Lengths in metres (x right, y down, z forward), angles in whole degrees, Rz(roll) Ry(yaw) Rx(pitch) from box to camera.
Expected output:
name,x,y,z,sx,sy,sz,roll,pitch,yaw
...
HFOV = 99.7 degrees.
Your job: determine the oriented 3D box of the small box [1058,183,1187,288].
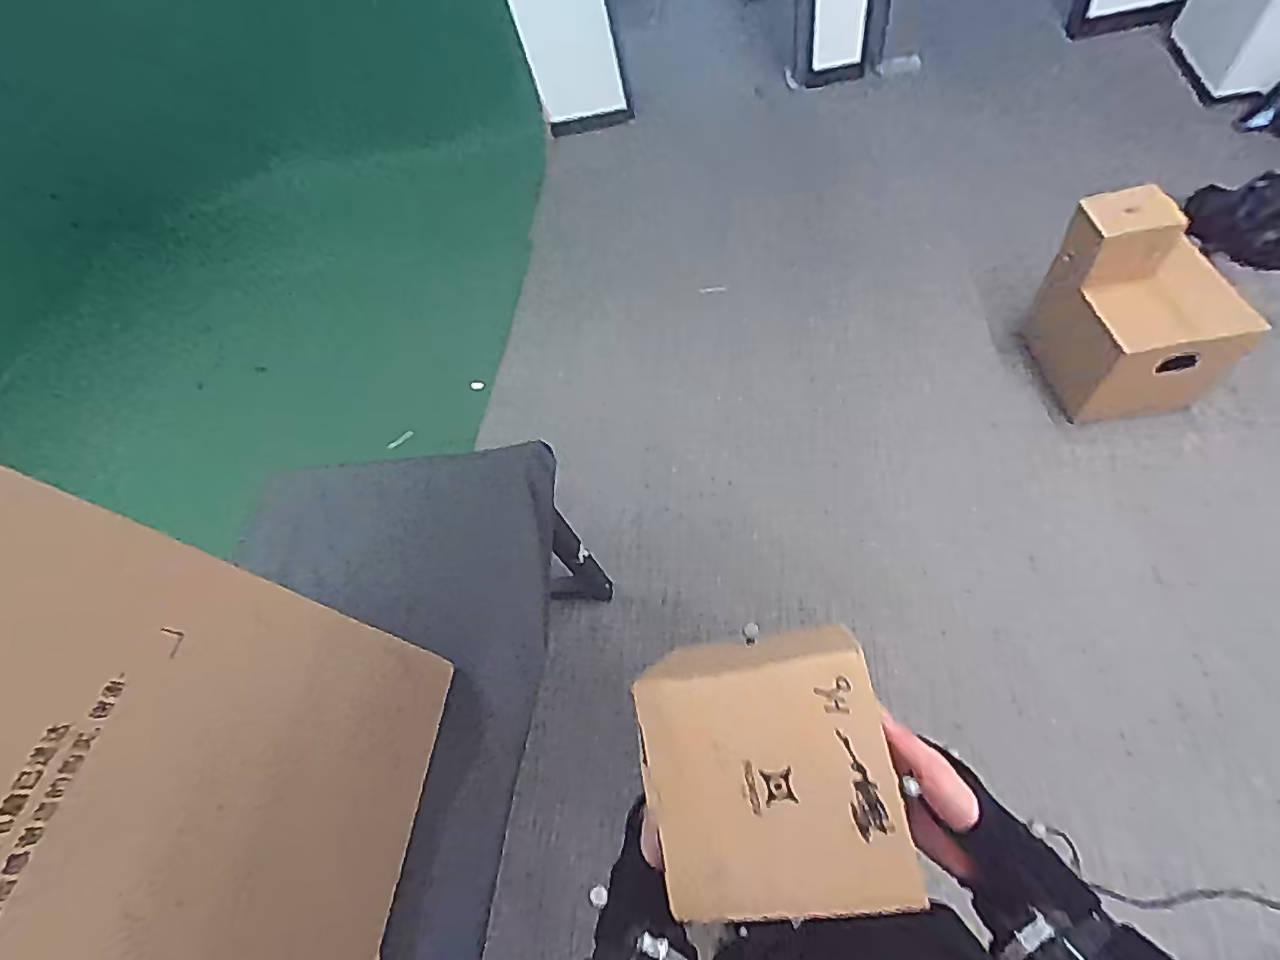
name,x,y,z,sx,sy,sz,roll,pitch,yaw
small box,1.255,-0.637,1.423,0.179,0.176,0.168,-9,57,14
